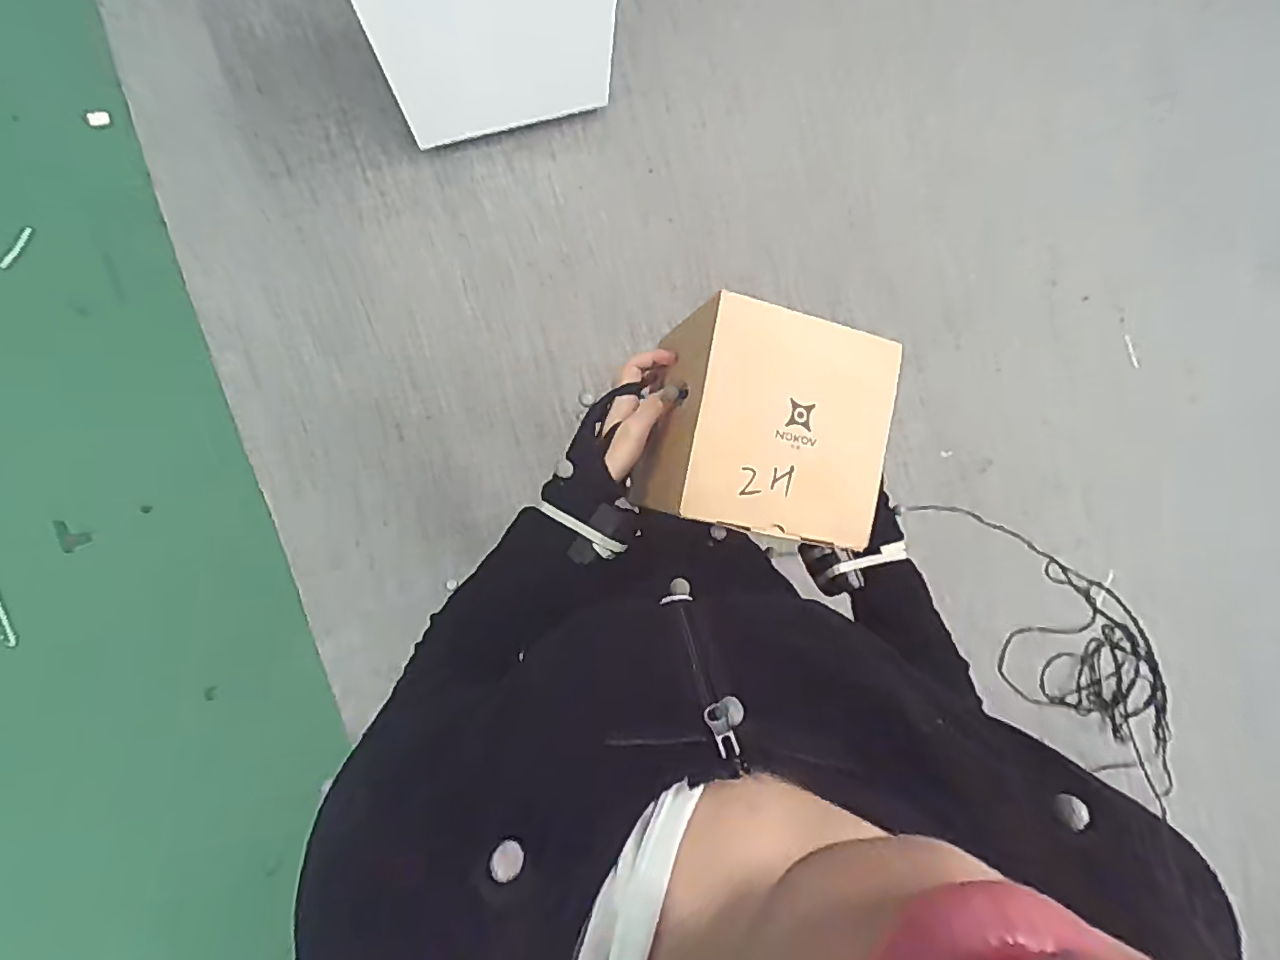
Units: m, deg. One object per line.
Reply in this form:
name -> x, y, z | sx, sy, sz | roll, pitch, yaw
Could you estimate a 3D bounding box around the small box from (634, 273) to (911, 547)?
small box -> 0.101, -0.047, 0.479 | 0.168, 0.176, 0.179 | 12, 86, -13
